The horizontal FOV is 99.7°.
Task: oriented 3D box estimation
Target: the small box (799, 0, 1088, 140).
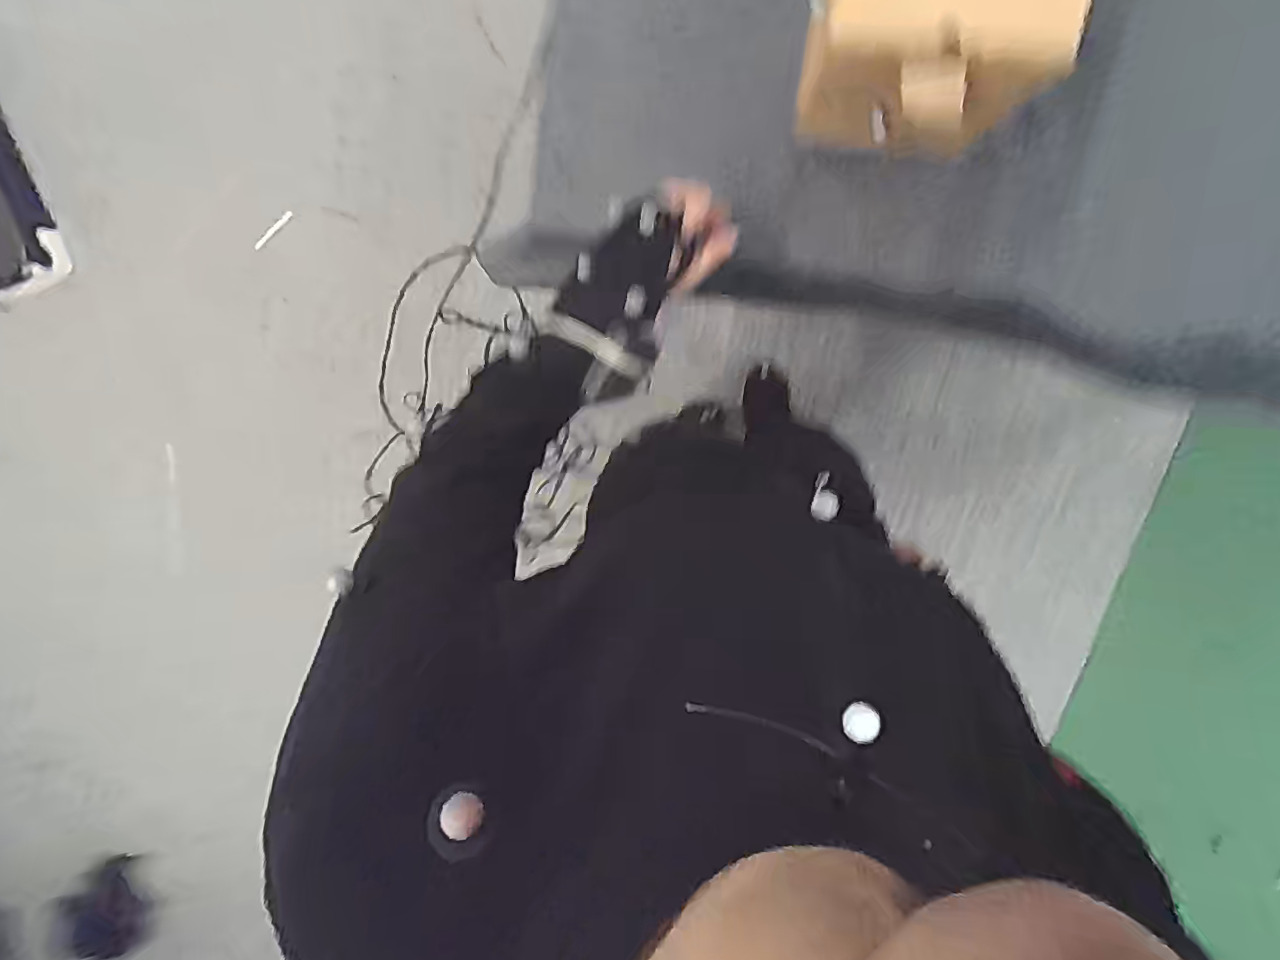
[{"bbox_3d":[0.233,-0.406,0.432,0.168,0.176,0.179,7,104,5],"label":"small box"}]
